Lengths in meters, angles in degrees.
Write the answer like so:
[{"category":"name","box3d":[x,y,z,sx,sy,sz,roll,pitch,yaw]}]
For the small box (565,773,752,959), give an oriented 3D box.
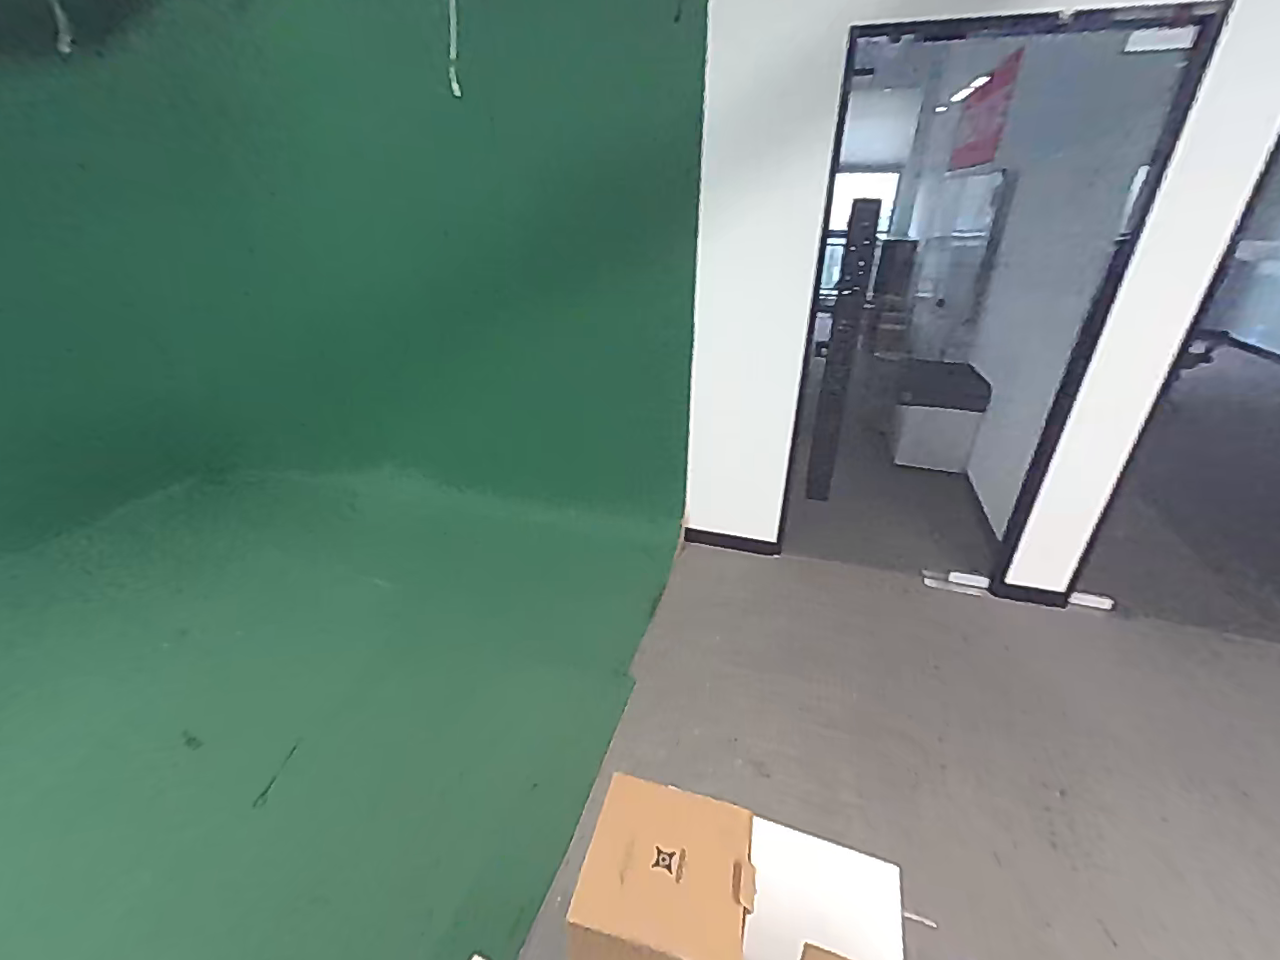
[{"category":"small box","box3d":[0.026,0.486,0.626,0.179,0.176,0.168,8,28,12]}]
